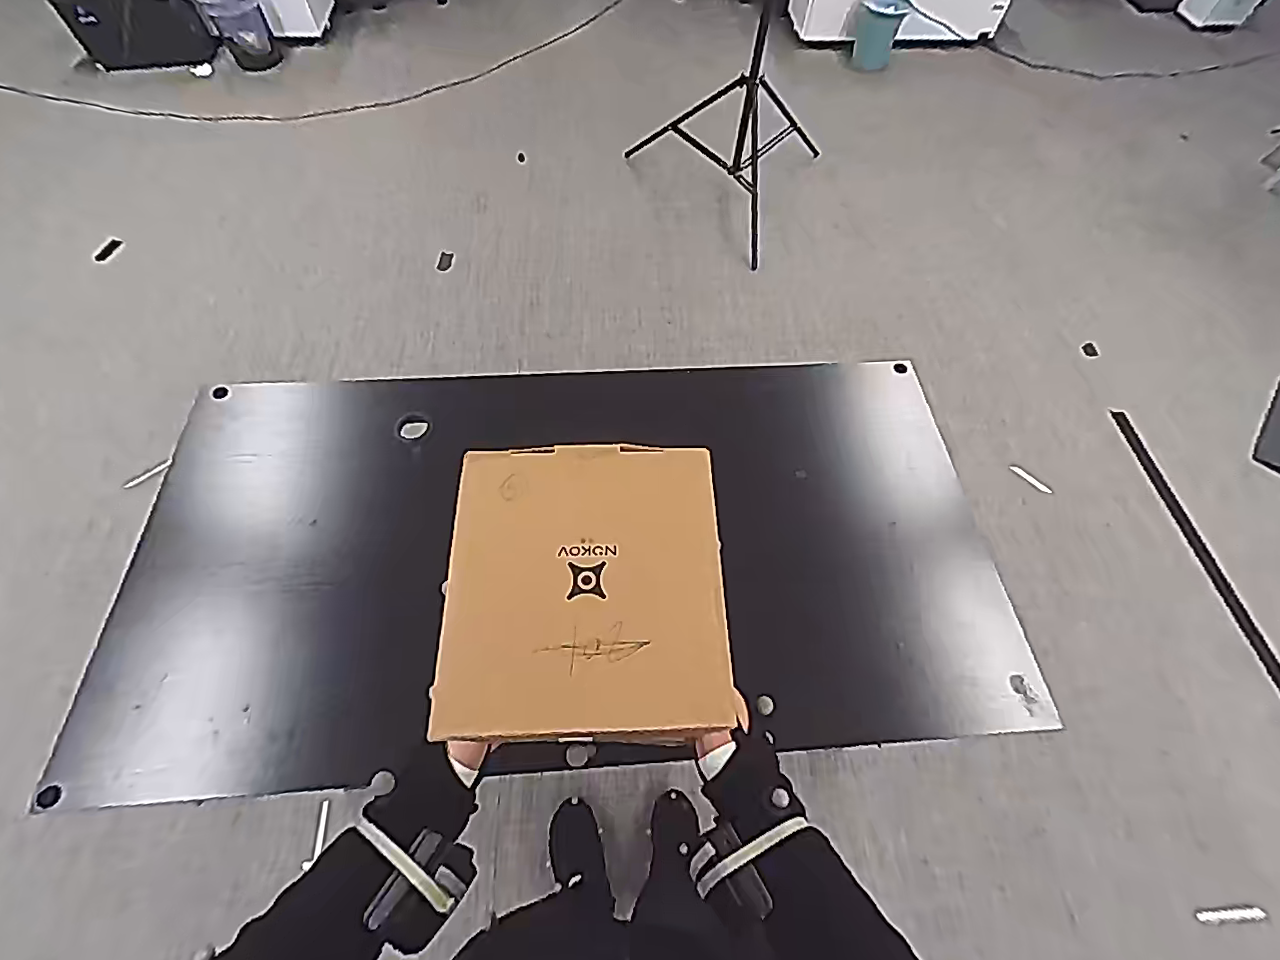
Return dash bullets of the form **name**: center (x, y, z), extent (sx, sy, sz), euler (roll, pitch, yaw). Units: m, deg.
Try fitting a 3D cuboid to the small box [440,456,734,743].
- **small box**: center (-0.033, 0.097, 0.406), extent (0.168, 0.176, 0.179), euler (-1, 64, -2)
